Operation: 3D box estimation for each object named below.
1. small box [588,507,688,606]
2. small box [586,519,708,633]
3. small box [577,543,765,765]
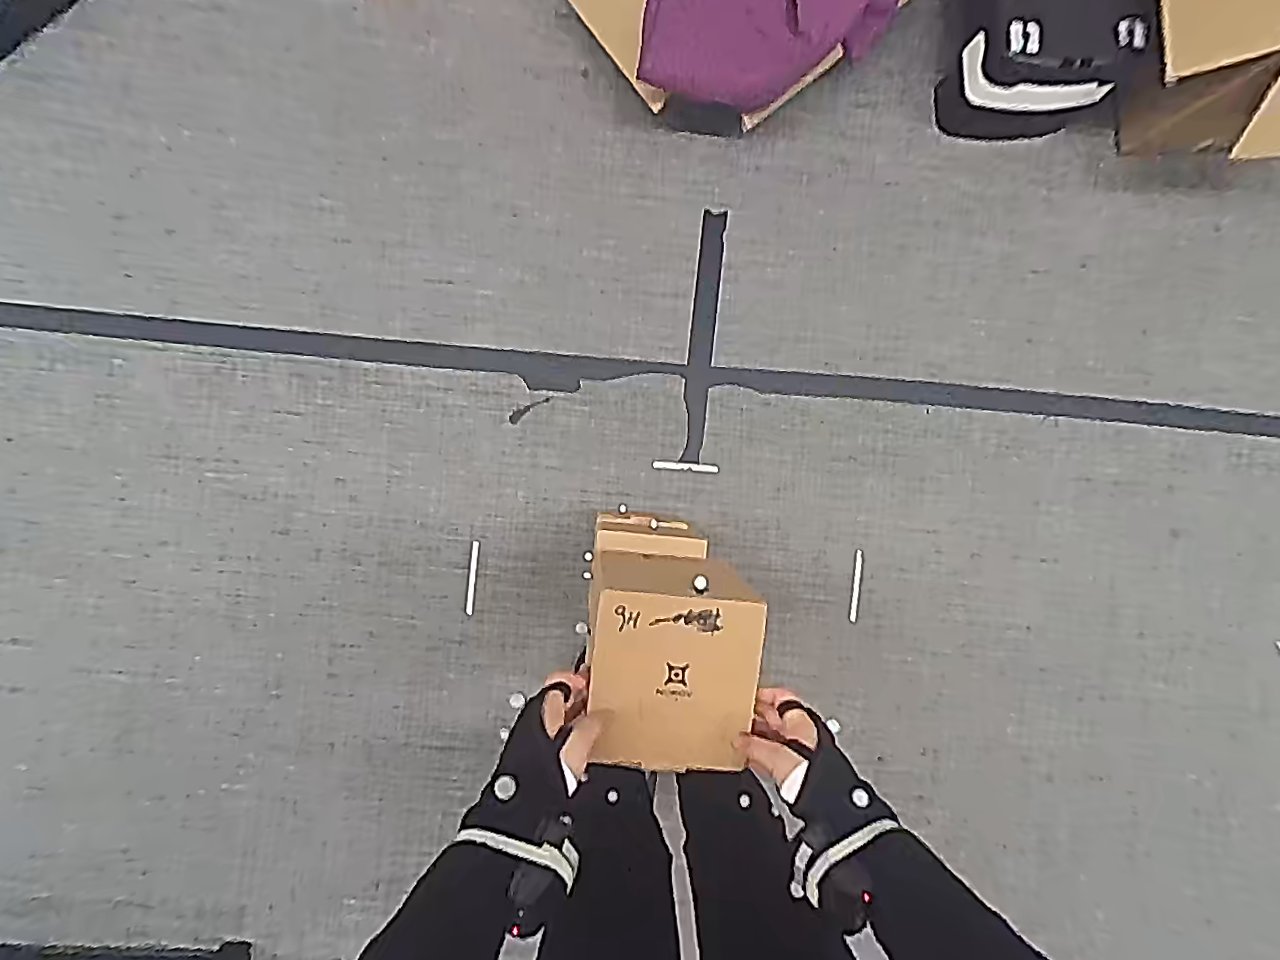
[{"bbox_3d":[-0.008,0.148,1.037,0.168,0.176,0.179,5,92,-2],"label":"small box"},{"bbox_3d":[0.007,0.160,0.872,0.168,0.176,0.179,6,91,-2],"label":"small box"},{"bbox_3d":[0.025,0.182,0.605,0.168,0.176,0.179,7,96,-5],"label":"small box"}]
